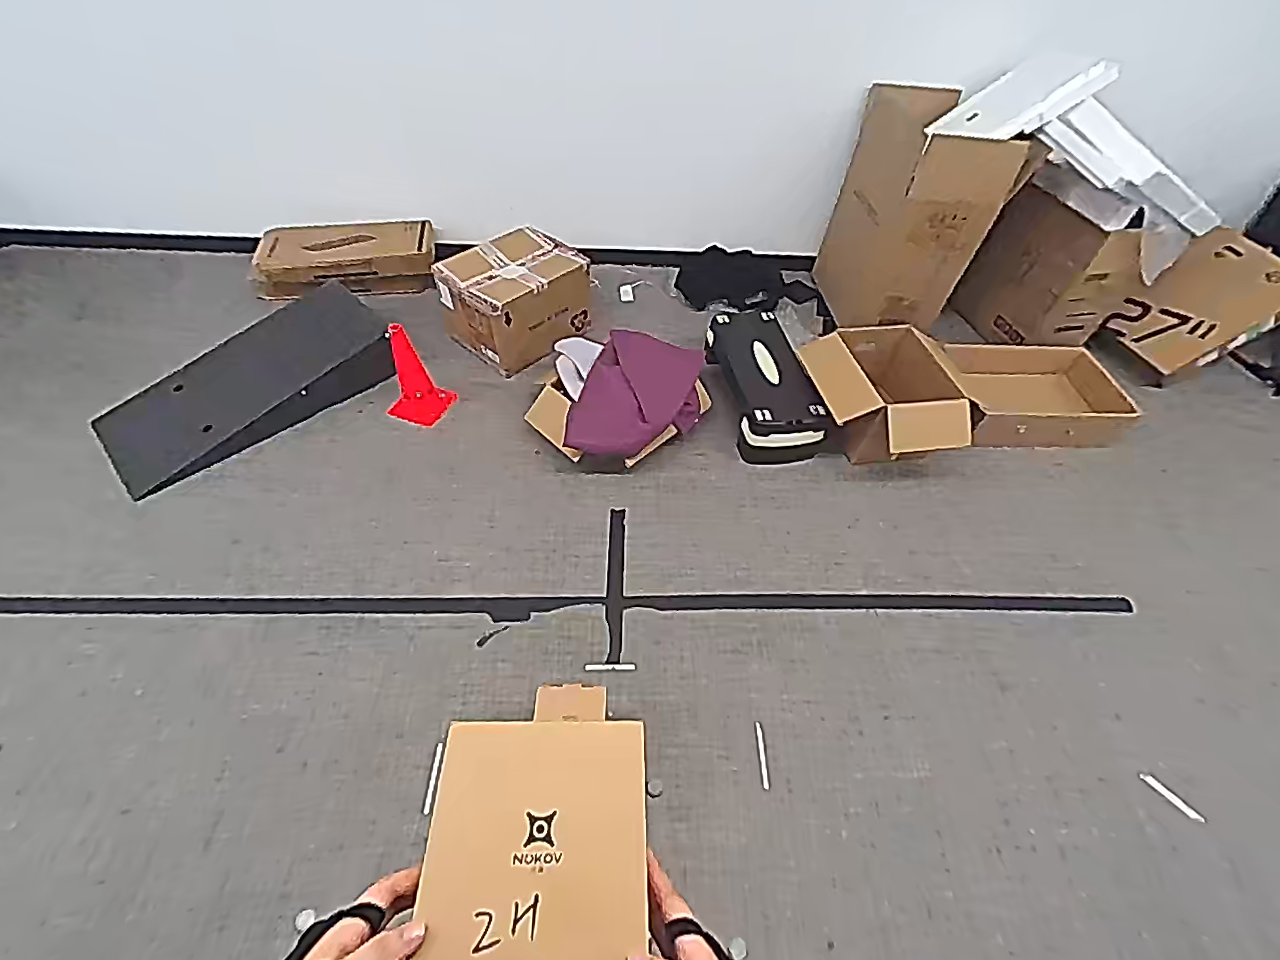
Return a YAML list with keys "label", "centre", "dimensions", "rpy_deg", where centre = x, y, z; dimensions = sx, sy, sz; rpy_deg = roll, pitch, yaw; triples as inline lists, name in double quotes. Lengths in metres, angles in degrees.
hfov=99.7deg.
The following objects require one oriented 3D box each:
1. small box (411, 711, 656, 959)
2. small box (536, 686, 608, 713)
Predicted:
- label: "small box"
  centre: [-0.075, 0.317, 0.468]
  dimensions: [0.168, 0.176, 0.179]
  rpy_deg: [0, 50, -2]
- label: "small box"
  centre: [-0.161, 0.606, 1.286]
  dimensions: [0.168, 0.176, 0.179]
  rpy_deg: [0, 52, -2]
